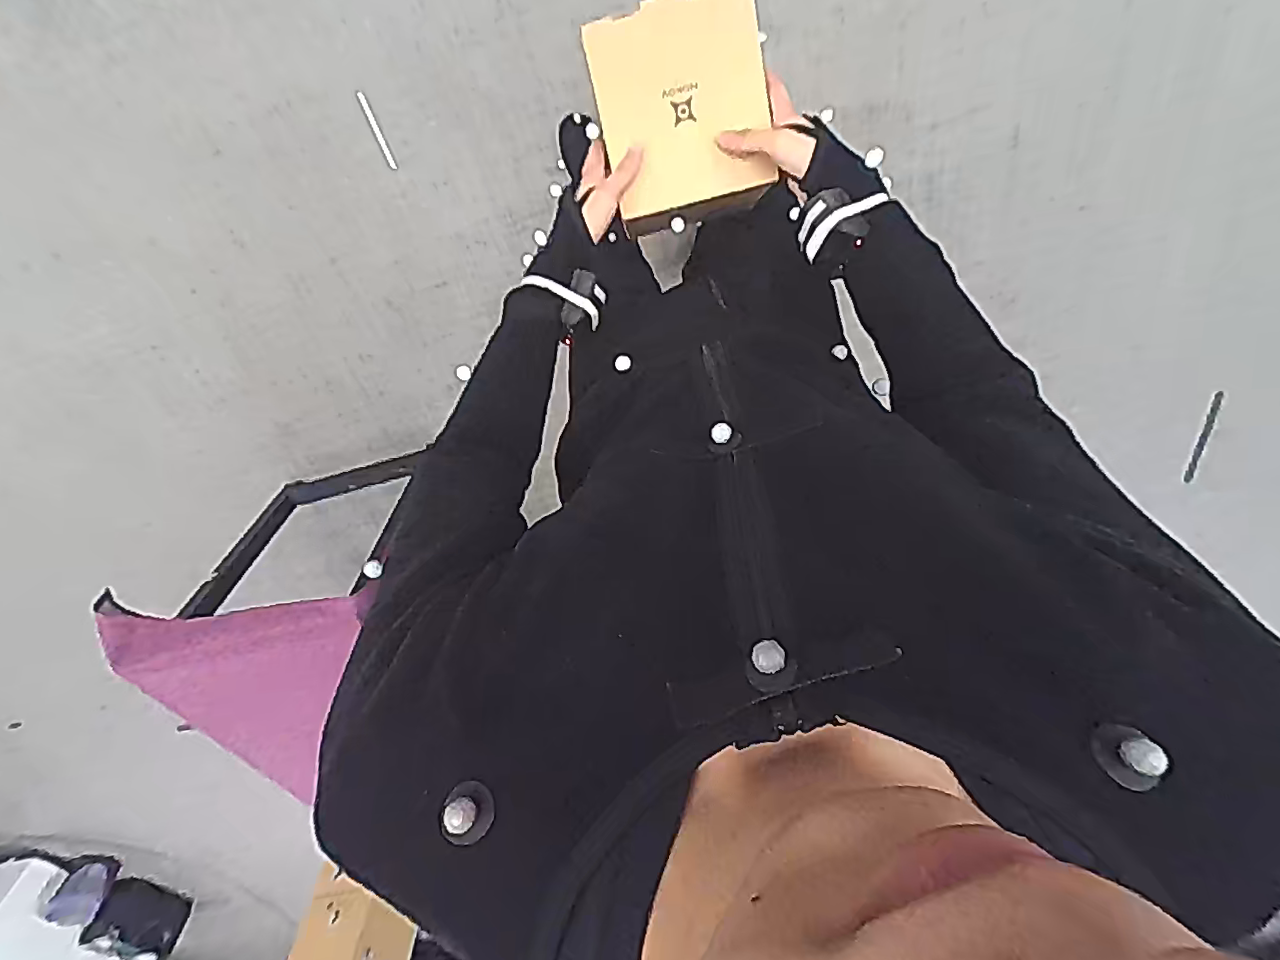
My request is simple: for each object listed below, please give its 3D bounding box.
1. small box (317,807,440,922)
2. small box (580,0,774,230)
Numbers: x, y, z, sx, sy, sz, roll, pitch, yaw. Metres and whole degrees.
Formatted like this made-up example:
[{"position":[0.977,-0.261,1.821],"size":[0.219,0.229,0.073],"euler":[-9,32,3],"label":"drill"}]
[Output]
[{"position":[-0.600,0.899,1.268],"size":[0.179,0.176,0.168],"euler":[-13,126,6],"label":"small box"},{"position":[0.042,-0.390,0.600],"size":[0.168,0.176,0.179],"euler":[-12,106,5],"label":"small box"}]
